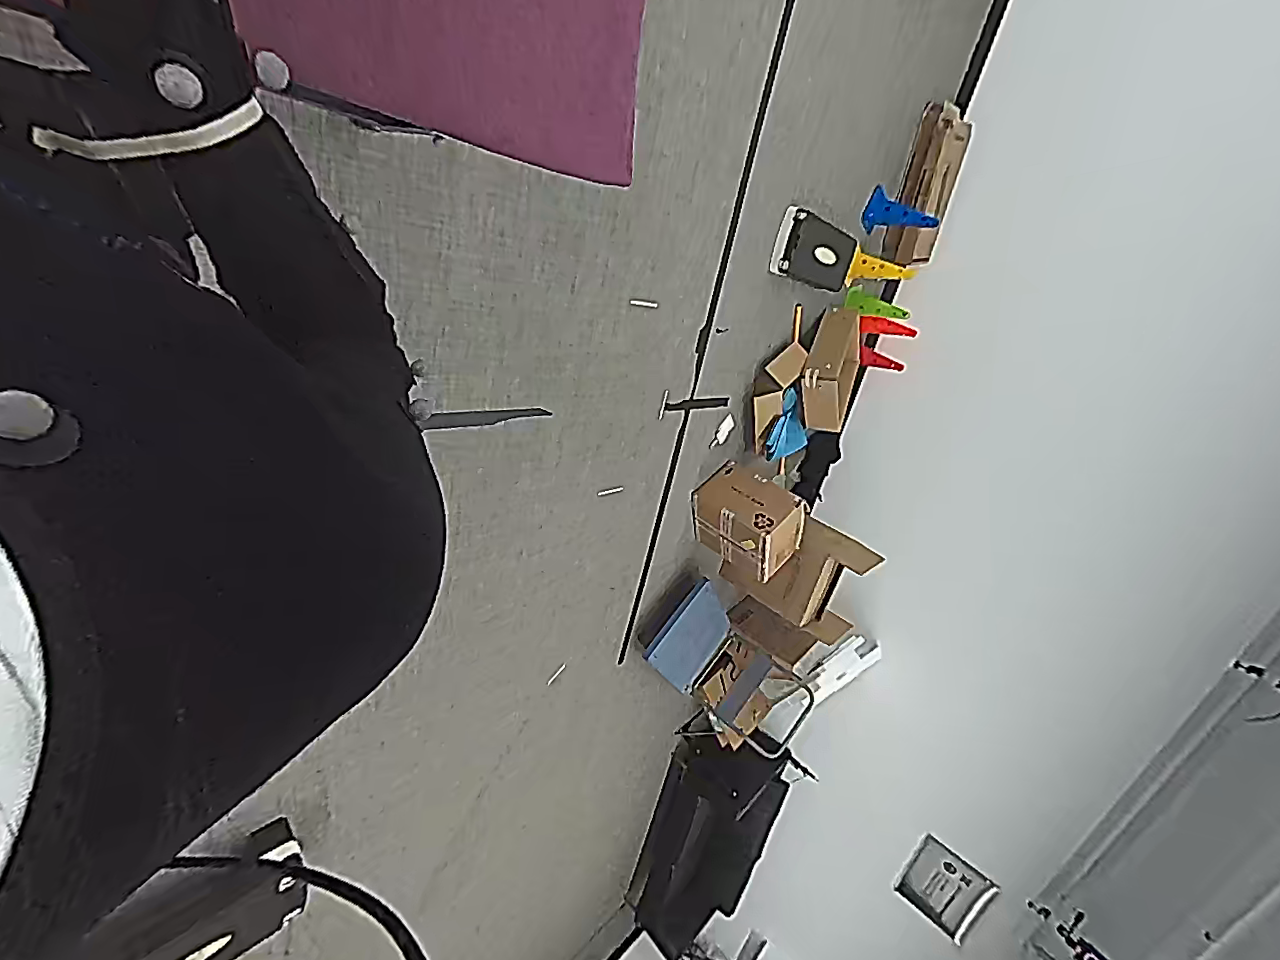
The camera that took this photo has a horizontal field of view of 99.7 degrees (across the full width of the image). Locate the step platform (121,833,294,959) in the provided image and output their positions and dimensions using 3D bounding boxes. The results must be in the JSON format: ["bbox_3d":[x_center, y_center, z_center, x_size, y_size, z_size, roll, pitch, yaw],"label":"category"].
[{"bbox_3d":[-1.394,1.364,1.545,0.684,0.204,0.286,-15,126,-48],"label":"step platform"}]
